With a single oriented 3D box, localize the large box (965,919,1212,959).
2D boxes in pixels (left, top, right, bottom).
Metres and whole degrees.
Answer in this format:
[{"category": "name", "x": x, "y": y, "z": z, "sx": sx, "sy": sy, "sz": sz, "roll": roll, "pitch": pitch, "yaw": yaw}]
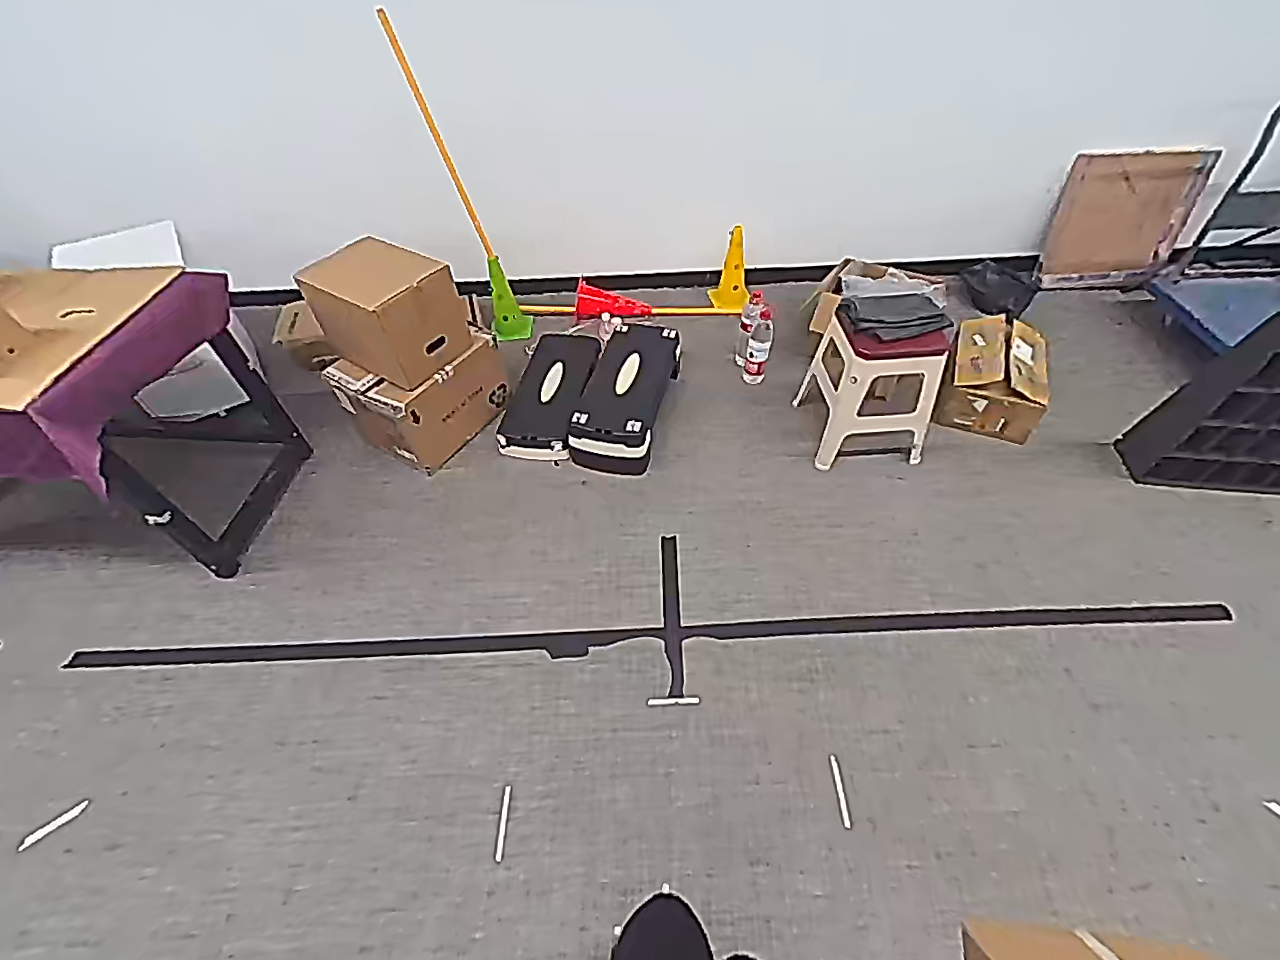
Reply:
[{"category": "large box", "x": 0.593, "y": 0.753, "z": 0.554, "sx": 0.320, "sy": 0.408, "sz": 0.320, "roll": -1, "pitch": 77, "yaw": 9}]
